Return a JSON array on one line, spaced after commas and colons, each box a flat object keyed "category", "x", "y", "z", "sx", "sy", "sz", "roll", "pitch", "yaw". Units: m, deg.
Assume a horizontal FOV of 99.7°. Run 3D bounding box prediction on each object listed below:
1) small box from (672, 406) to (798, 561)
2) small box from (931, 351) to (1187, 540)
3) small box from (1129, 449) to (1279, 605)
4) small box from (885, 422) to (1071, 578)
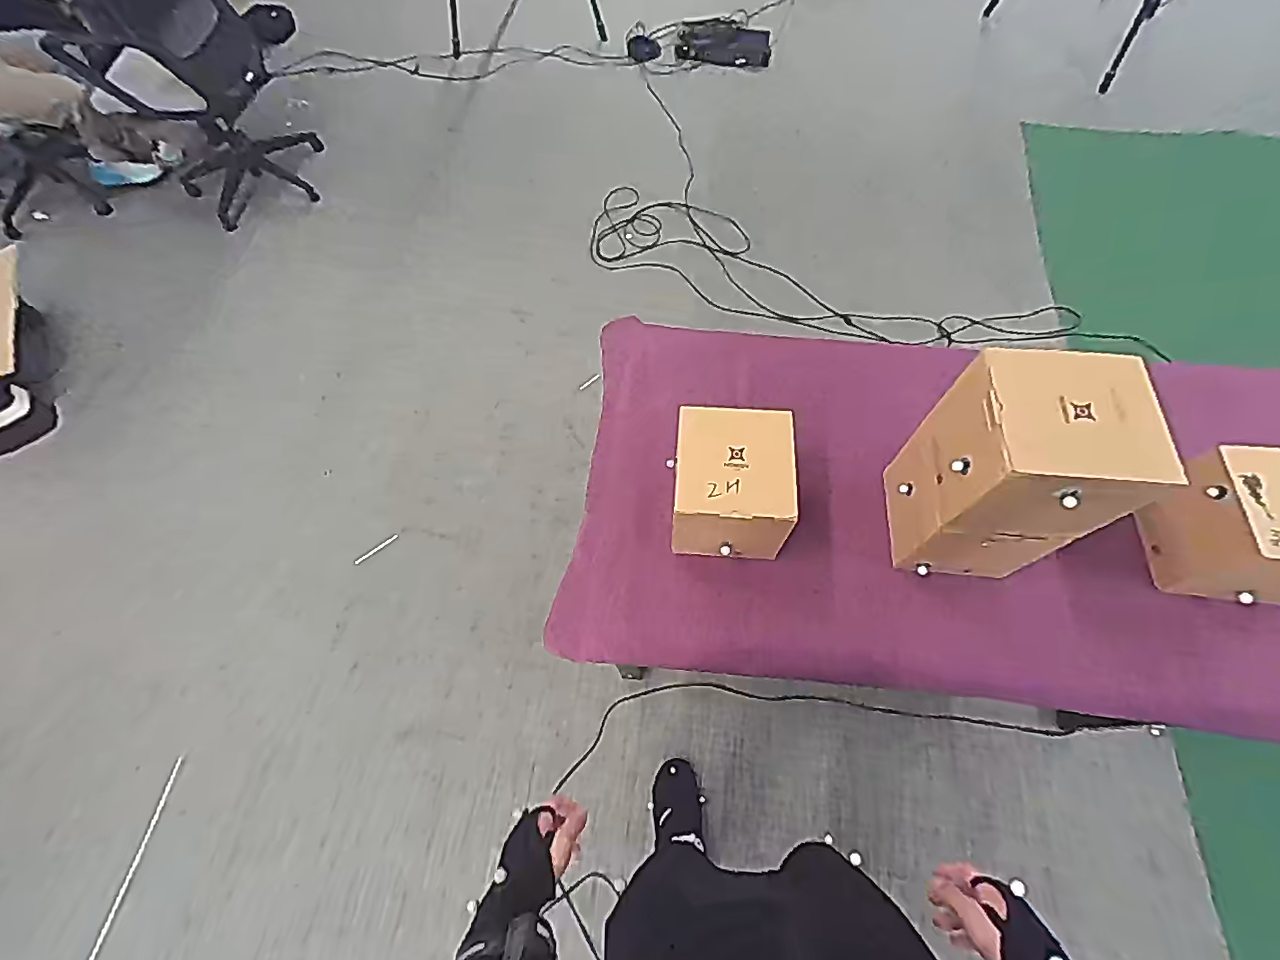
[{"category": "small box", "x": 0.137, "y": 0.009, "z": 0.825, "sx": 0.168, "sy": 0.176, "sz": 0.179, "roll": 4, "pitch": 64, "yaw": 4}, {"category": "small box", "x": 0.478, "y": -0.034, "z": 0.657, "sx": 0.179, "sy": 0.176, "sz": 0.168, "roll": 5, "pitch": 64, "yaw": 4}, {"category": "small box", "x": 0.870, "y": 0.074, "z": 0.773, "sx": 0.179, "sy": 0.176, "sz": 0.168, "roll": 6, "pitch": 63, "yaw": 5}, {"category": "small box", "x": 0.482, "y": 0.036, "z": 0.804, "sx": 0.168, "sy": 0.176, "sz": 0.179, "roll": 5, "pitch": 63, "yaw": 4}]
